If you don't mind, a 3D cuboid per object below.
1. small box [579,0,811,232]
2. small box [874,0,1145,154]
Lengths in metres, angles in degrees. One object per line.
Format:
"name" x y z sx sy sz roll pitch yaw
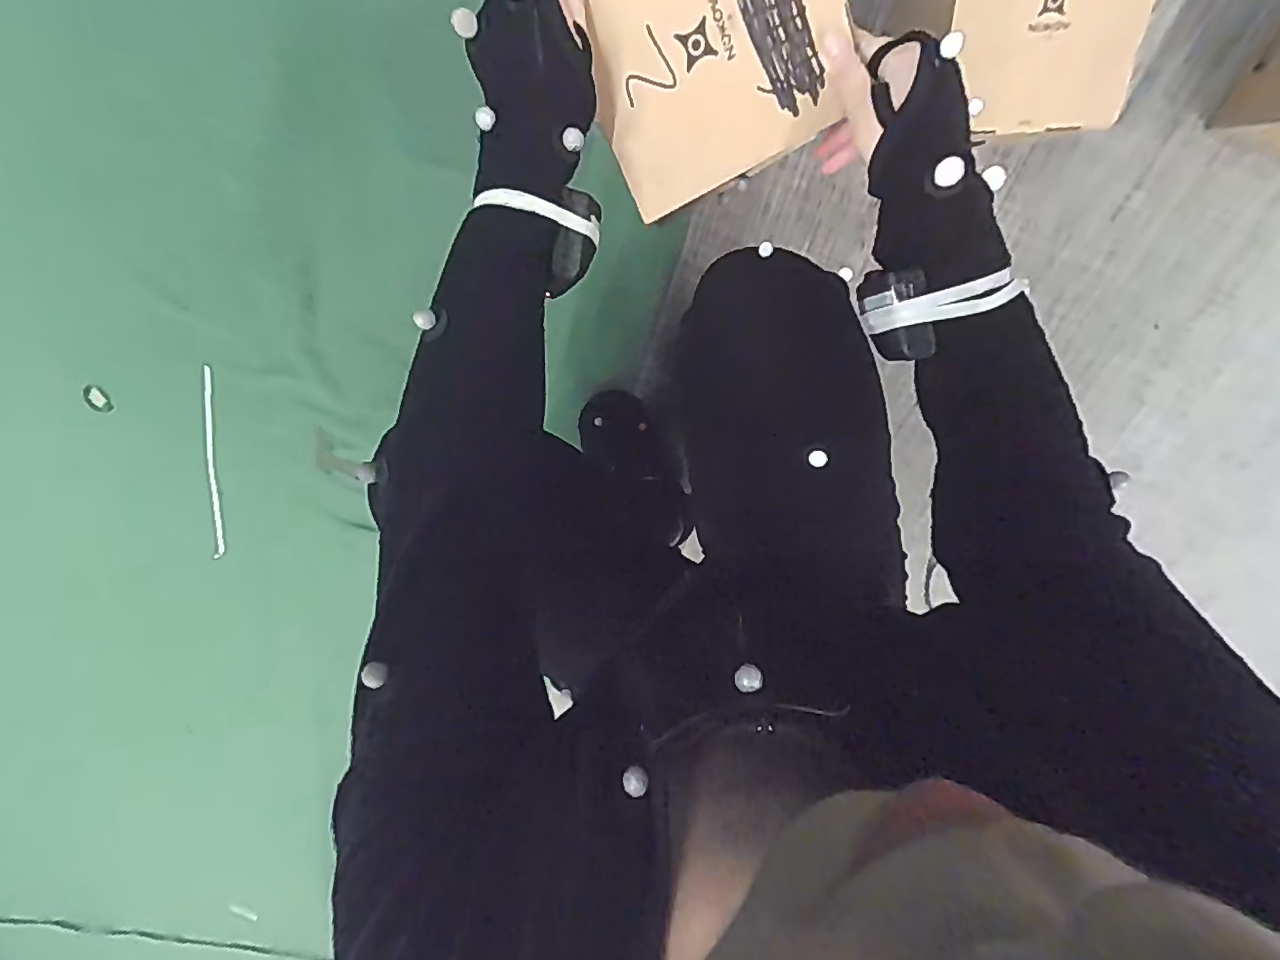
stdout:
"small box" 0.058 -0.389 0.584 0.179 0.176 0.168 -24 113 14
"small box" 0.352 -0.431 0.541 0.168 0.176 0.179 1 117 4
